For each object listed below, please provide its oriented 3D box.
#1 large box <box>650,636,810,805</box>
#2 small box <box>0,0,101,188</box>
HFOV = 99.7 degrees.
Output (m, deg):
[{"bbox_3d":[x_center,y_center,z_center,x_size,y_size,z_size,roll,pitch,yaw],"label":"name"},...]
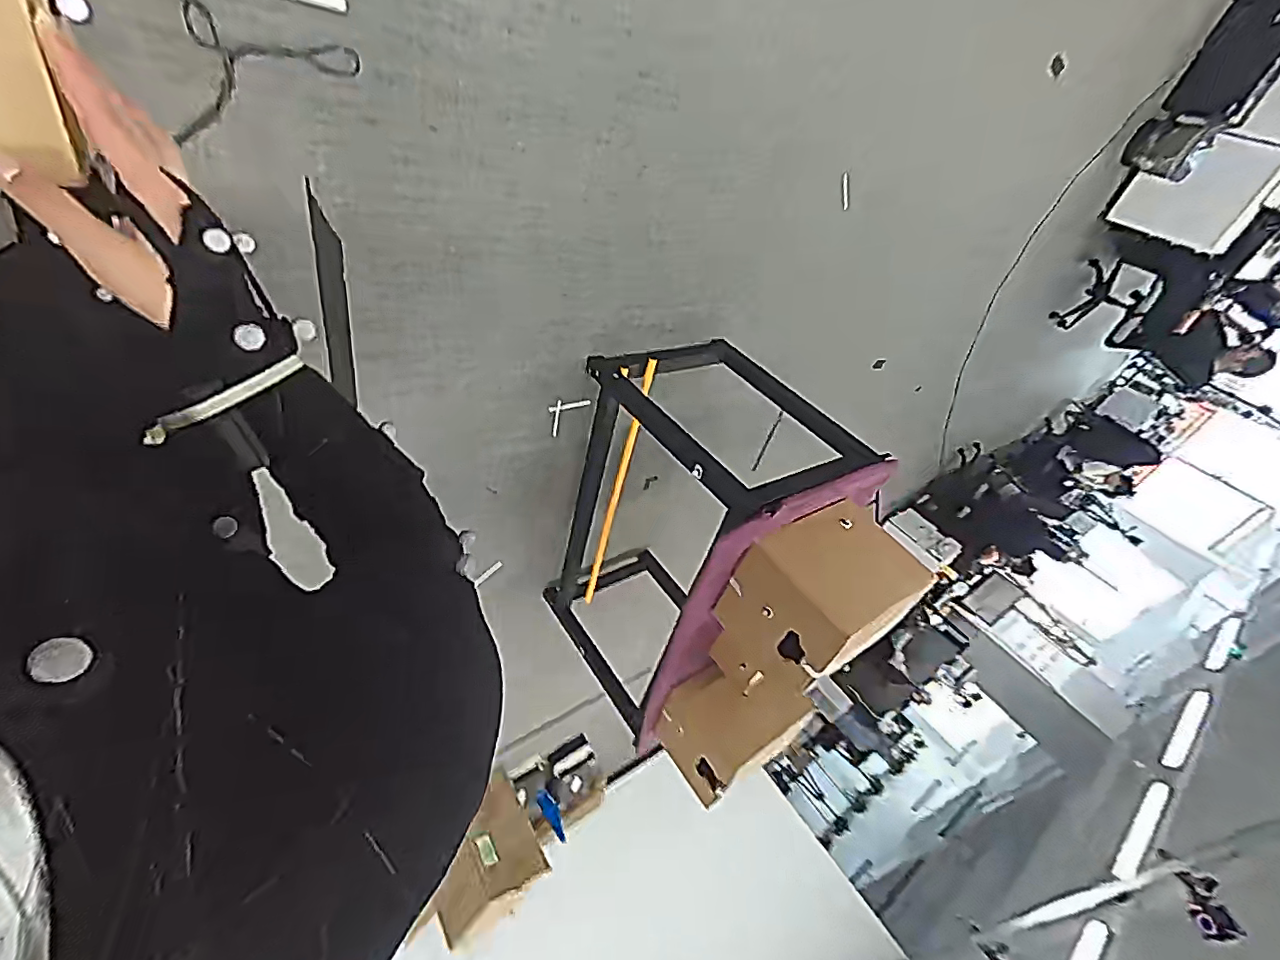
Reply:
[{"bbox_3d":[0.301,0.818,1.876,0.408,0.320,0.320,-18,140,-36],"label":"large box"},{"bbox_3d":[-0.378,-0.249,0.236,0.179,0.176,0.168,-12,131,-36],"label":"small box"}]
